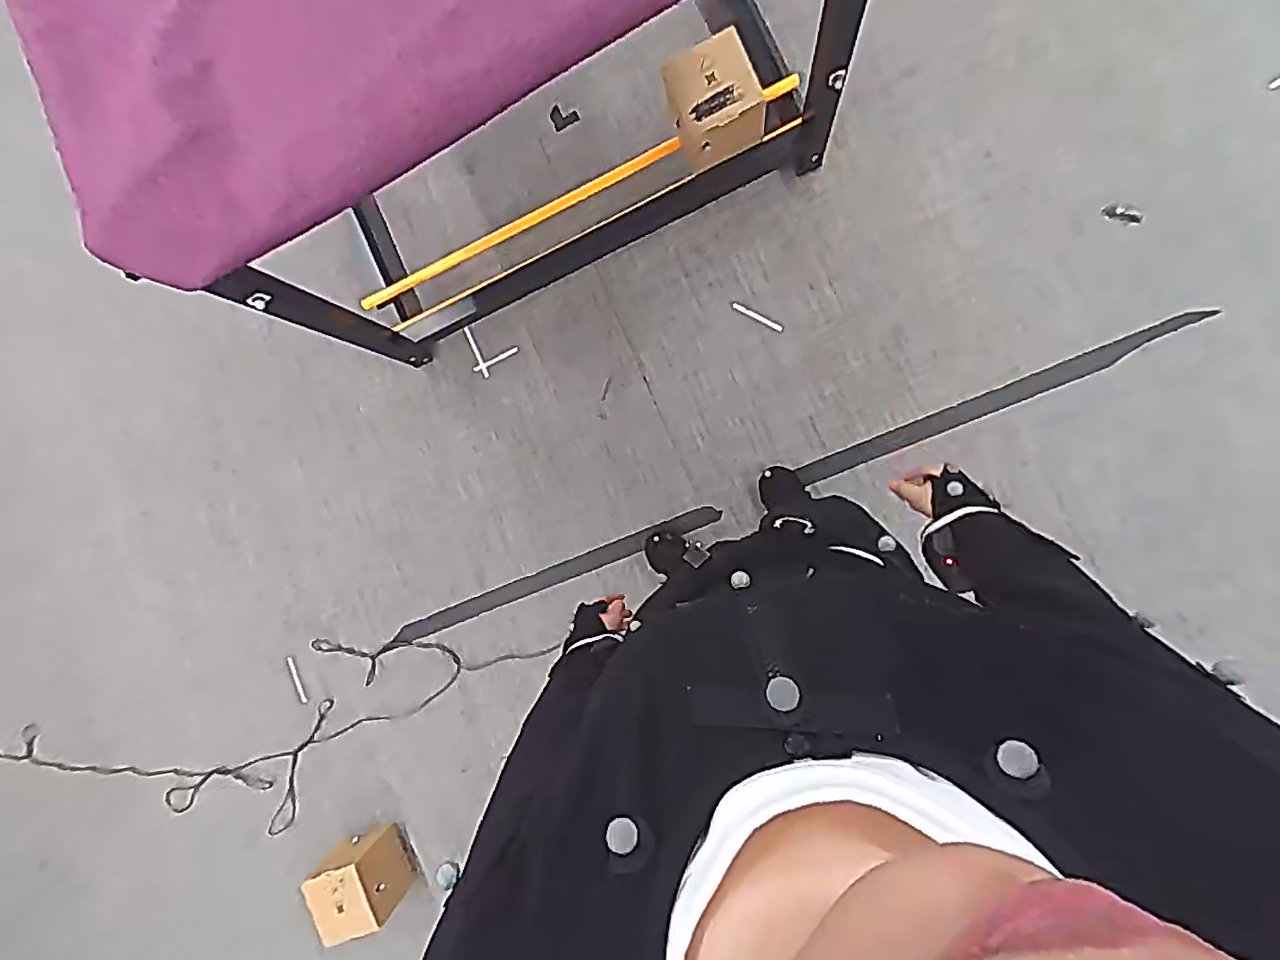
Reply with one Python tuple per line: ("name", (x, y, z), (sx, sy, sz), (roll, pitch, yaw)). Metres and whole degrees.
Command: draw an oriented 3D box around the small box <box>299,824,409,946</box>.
("small box", (-0.746, 1.062, 1.430), (0.168, 0.176, 0.179), (-23, 87, 7))
